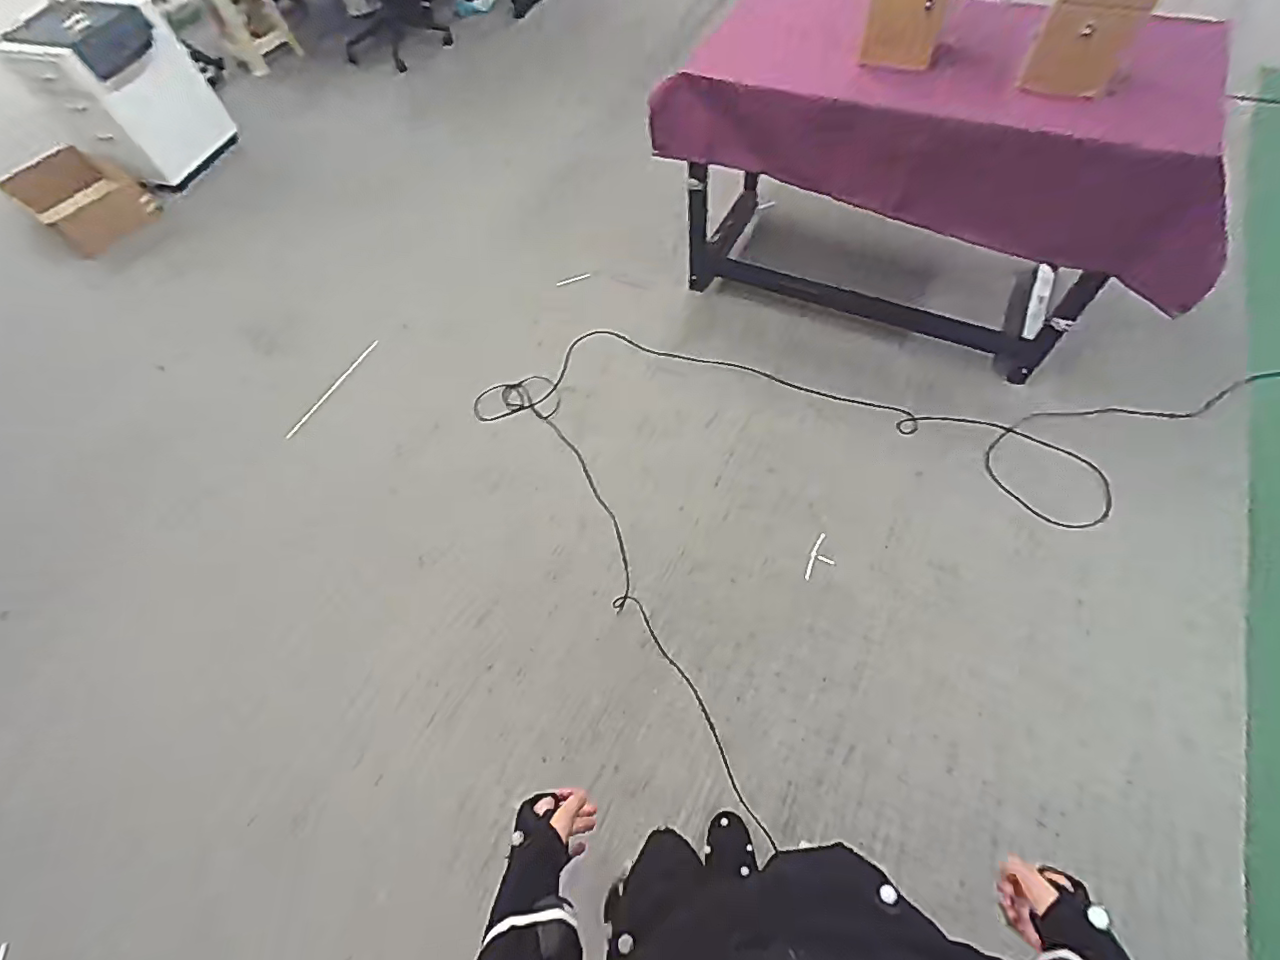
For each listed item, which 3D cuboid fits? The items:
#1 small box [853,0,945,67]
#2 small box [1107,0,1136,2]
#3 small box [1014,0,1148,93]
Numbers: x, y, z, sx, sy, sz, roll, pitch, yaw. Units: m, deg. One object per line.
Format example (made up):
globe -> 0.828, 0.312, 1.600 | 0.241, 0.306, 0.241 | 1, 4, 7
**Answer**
small box -> 0.638, -1.142, 1.316 | 0.179, 0.176, 0.168 | 19, 64, 15
small box -> 0.959, -1.070, 1.051 | 0.179, 0.176, 0.168 | 23, 66, 18
small box -> 0.971, -0.993, 1.195 | 0.179, 0.176, 0.168 | 23, 66, 17
